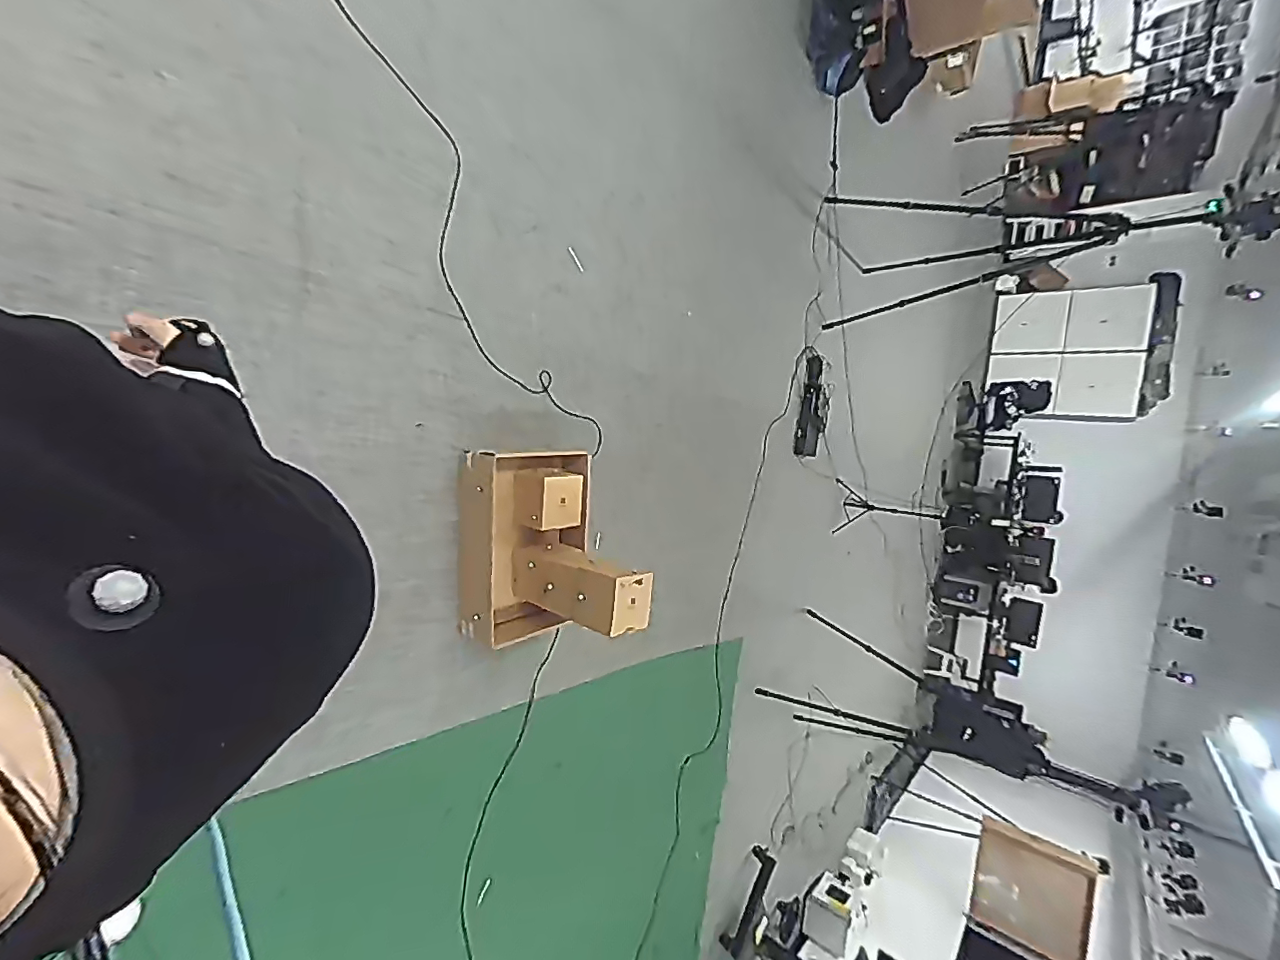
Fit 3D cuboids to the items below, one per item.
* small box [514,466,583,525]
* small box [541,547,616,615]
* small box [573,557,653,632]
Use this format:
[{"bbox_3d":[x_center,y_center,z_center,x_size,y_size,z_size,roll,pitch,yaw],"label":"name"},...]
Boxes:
[{"bbox_3d":[-0.313,0.046,1.837,0.168,0.176,0.179,-5,102,-48],"label":"small box"},{"bbox_3d":[-0.201,0.322,1.769,0.179,0.176,0.168,-3,99,-49],"label":"small box"},{"bbox_3d":[-0.086,0.342,1.651,0.168,0.176,0.179,3,95,-50],"label":"small box"}]
